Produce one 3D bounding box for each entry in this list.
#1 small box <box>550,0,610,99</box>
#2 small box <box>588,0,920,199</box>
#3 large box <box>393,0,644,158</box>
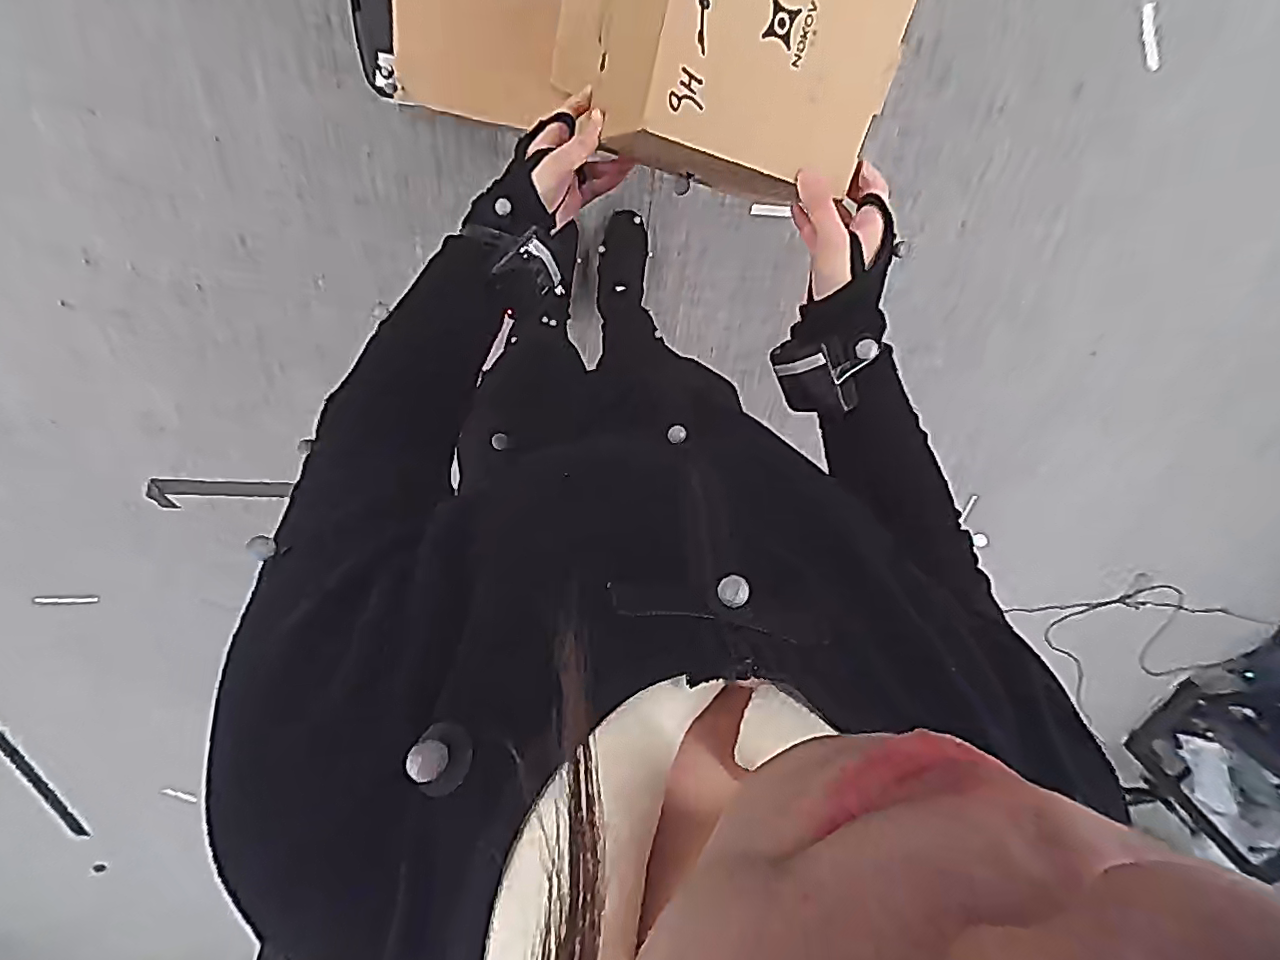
[{"bbox_3d":[0.000,-0.512,0.607,0.179,0.176,0.168,9,122,-15],"label":"small box"},{"bbox_3d":[0.076,-0.333,0.416,0.179,0.176,0.168,6,114,-23],"label":"small box"},{"bbox_3d":[-0.108,-0.676,0.777,0.408,0.320,0.320,5,121,-12],"label":"large box"}]
